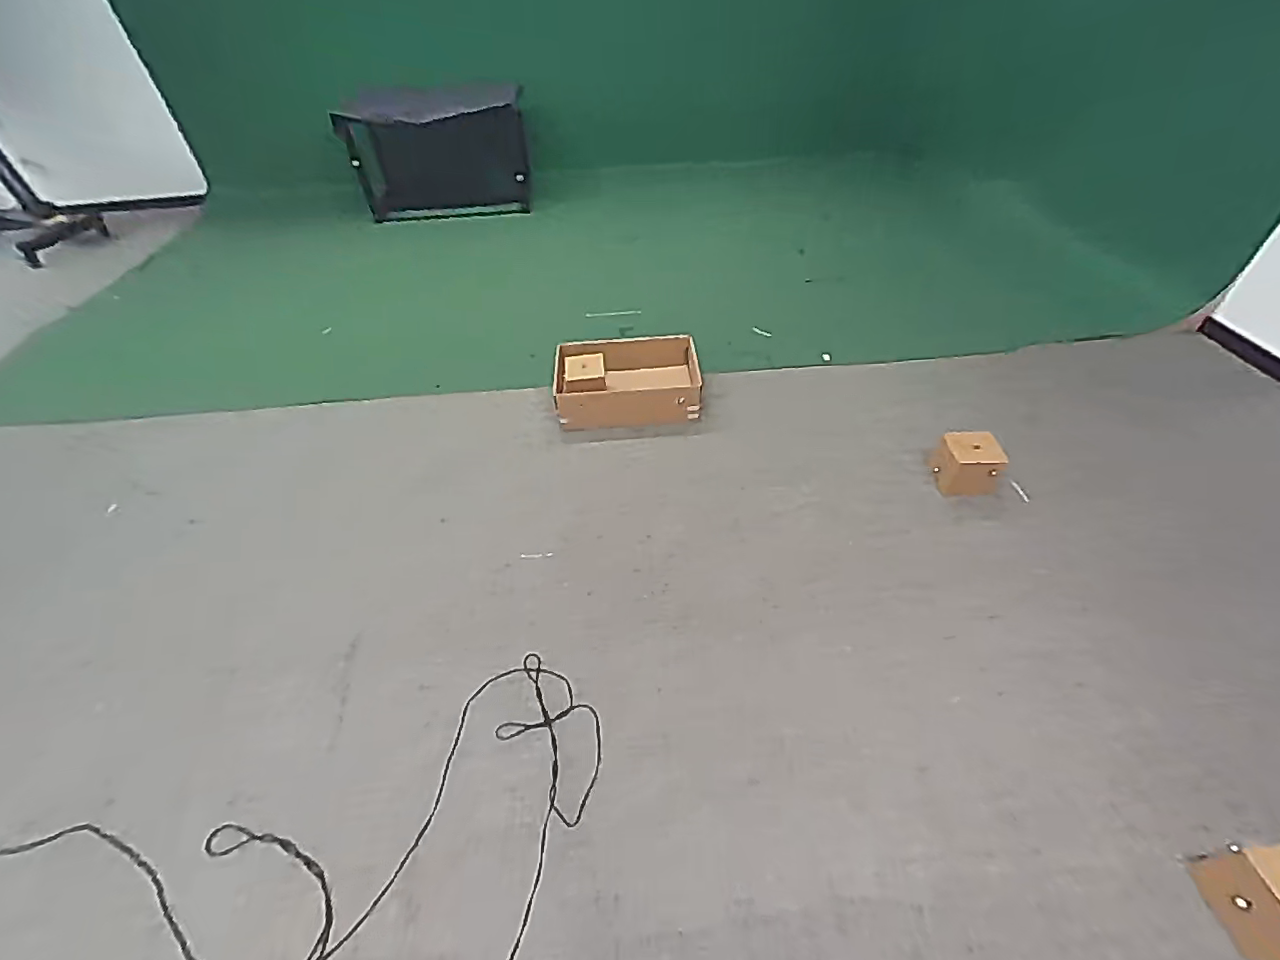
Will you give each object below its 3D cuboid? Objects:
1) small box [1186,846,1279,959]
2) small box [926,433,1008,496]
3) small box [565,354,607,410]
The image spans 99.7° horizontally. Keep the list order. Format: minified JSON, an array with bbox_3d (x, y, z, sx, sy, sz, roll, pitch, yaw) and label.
[{"bbox_3d":[1.279,0.851,1.078,0.168,0.176,0.179,-4,45,0],"label":"small box"},{"bbox_3d":[1.180,-0.054,1.965,0.179,0.176,0.168,-1,45,3],"label":"small box"},{"bbox_3d":[-0.234,-0.422,2.336,0.168,0.176,0.179,-6,47,-3],"label":"small box"}]
